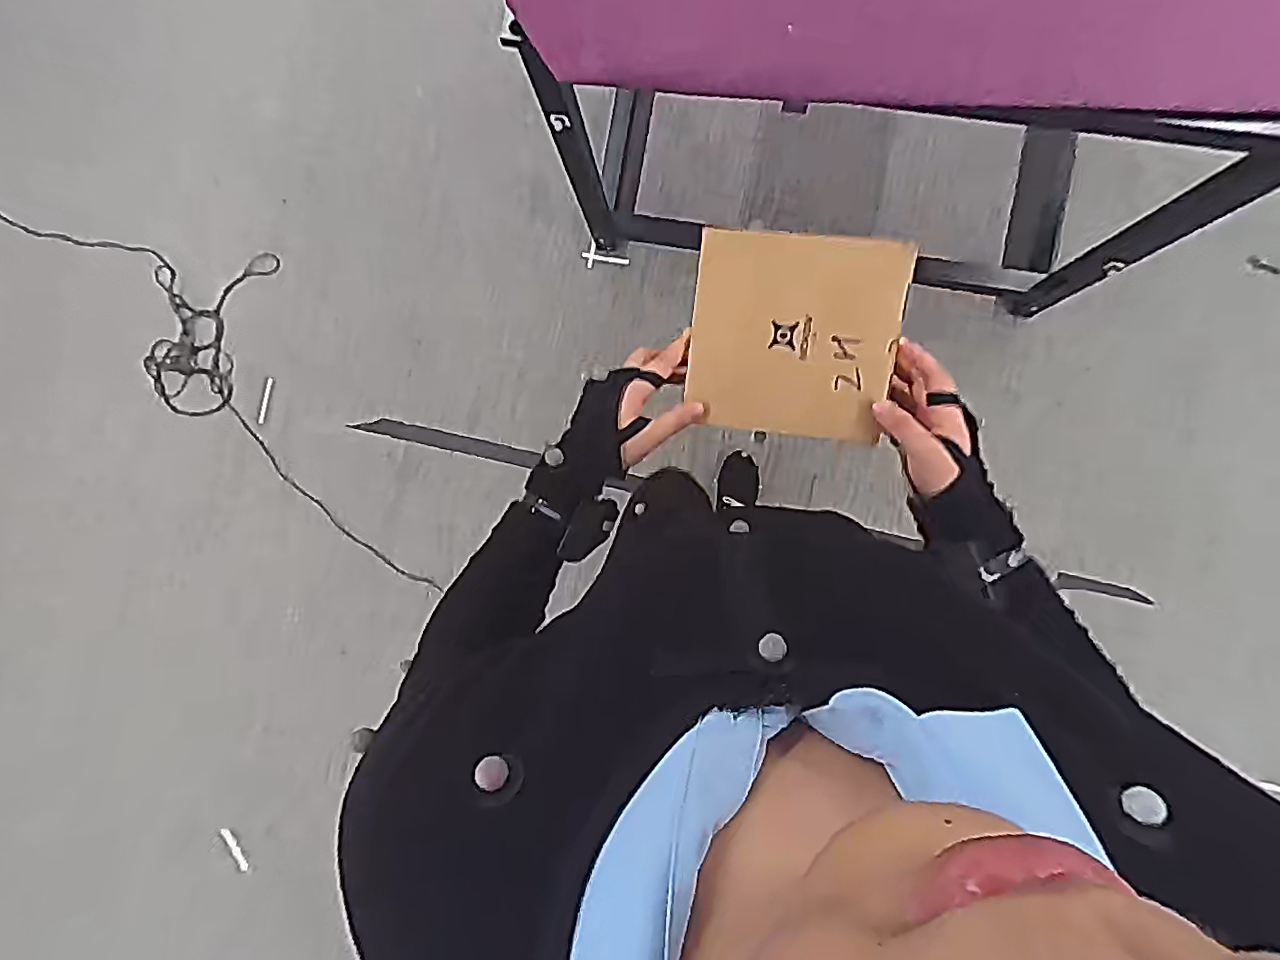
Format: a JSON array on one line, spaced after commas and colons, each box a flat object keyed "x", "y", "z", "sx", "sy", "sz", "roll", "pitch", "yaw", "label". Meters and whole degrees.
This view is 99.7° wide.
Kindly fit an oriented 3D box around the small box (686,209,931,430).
[{"x": 0.144, "y": -0.148, "z": 0.525, "sx": 0.179, "sy": 0.176, "sz": 0.168, "roll": 7, "pitch": 104, "yaw": 6, "label": "small box"}]
